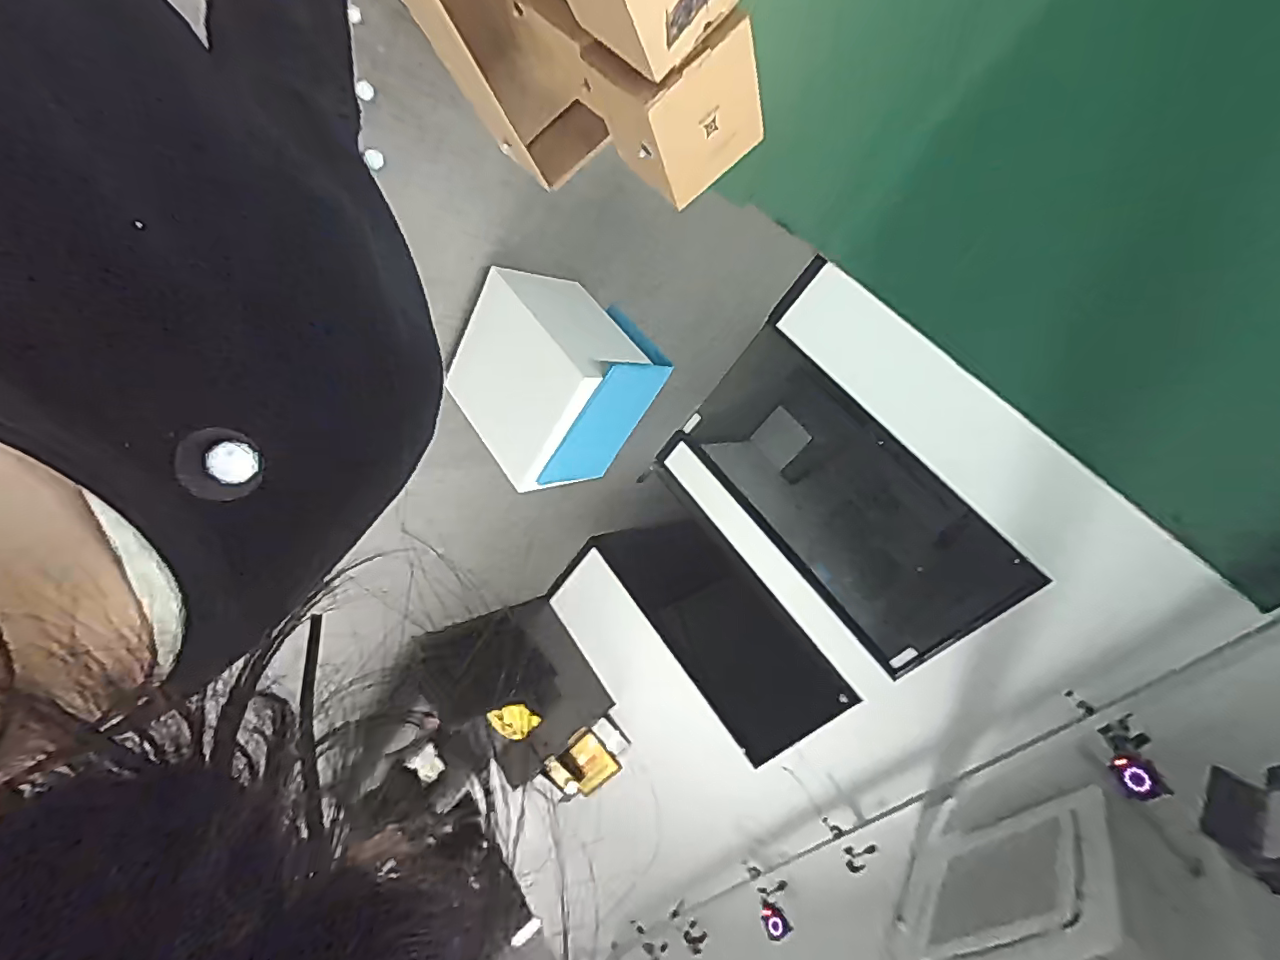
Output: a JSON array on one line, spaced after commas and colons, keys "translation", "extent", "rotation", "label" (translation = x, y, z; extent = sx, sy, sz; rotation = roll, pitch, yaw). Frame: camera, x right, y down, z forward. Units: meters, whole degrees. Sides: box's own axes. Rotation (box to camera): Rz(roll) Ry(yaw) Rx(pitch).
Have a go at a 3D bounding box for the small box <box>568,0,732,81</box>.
[{"translation": [-0.002, -0.588, 0.566], "extent": [0.168, 0.176, 0.179], "rotation": [-44, 158, 9], "label": "small box"}]
